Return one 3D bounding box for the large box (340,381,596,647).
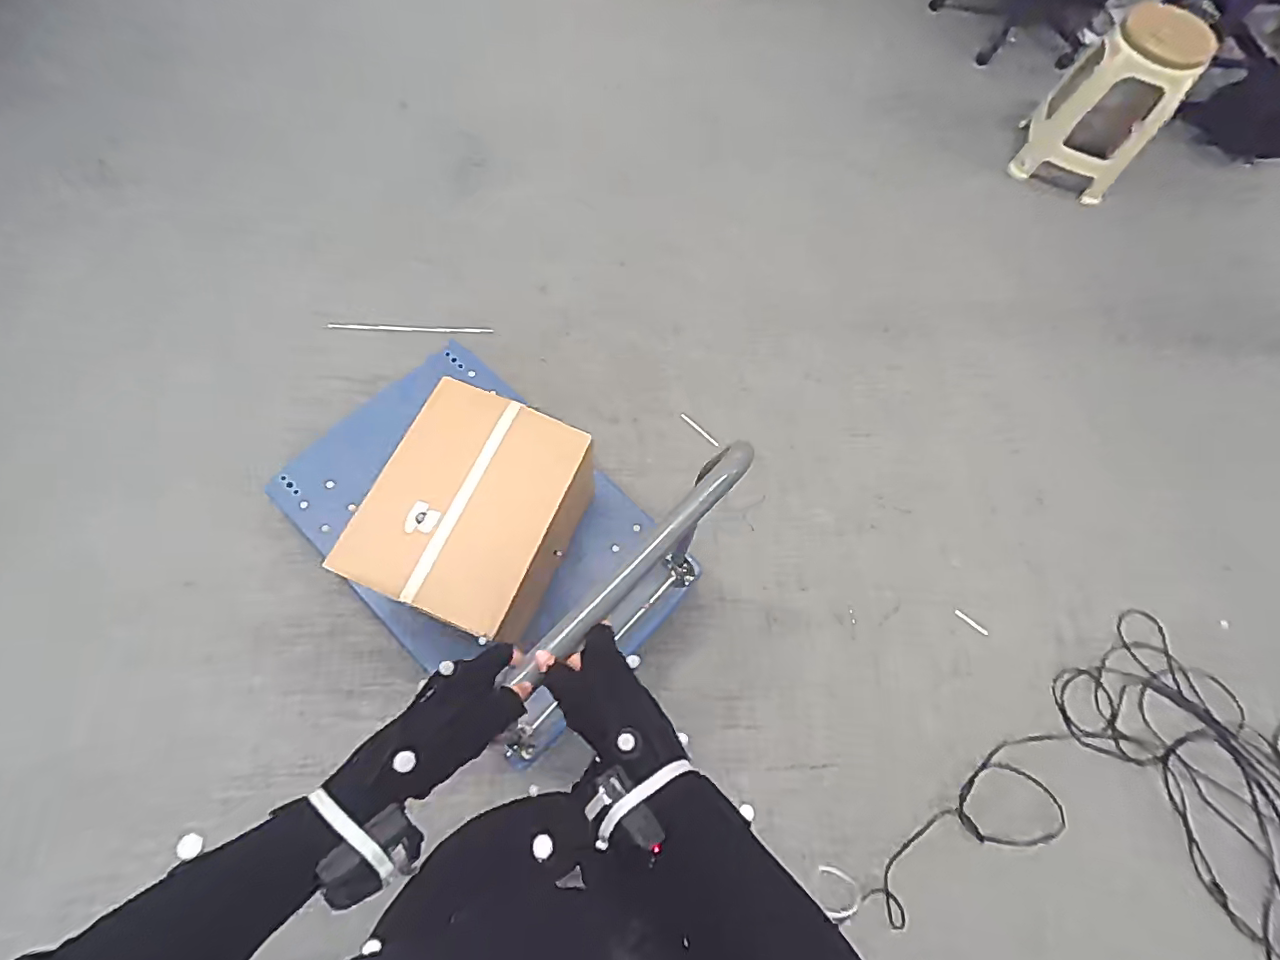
[{"bbox_3d":[-0.304,0.084,1.097,0.320,0.320,0.408,22,70,4],"label":"large box"}]
